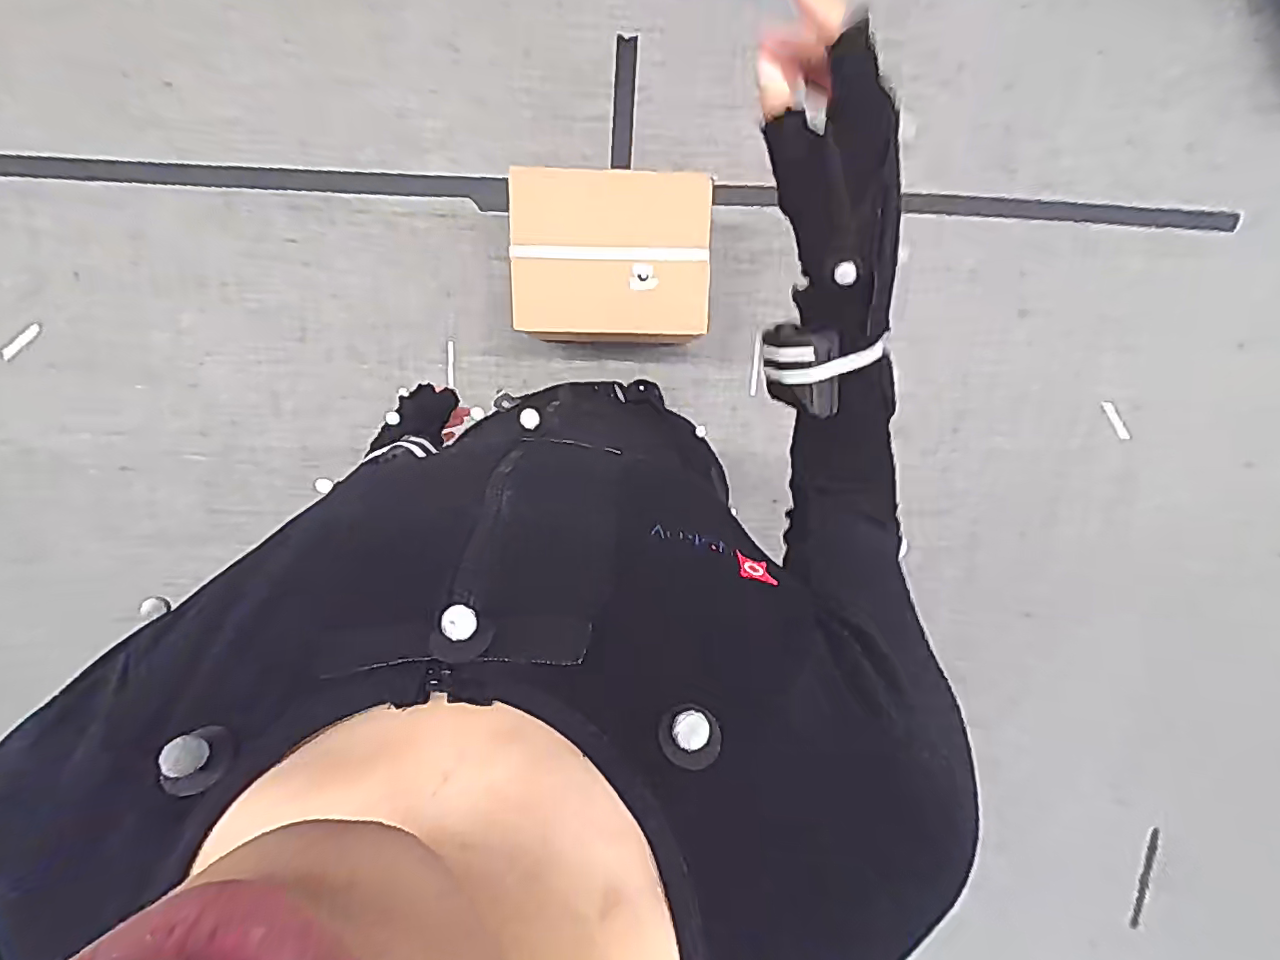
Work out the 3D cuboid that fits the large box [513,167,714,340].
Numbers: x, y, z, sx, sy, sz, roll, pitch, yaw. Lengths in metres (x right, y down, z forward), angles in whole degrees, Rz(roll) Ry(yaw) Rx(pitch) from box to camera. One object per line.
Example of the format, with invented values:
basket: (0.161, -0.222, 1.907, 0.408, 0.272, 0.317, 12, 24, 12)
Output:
large box: (-0.061, -0.491, 1.240, 0.408, 0.320, 0.320, 0, 102, -3)
